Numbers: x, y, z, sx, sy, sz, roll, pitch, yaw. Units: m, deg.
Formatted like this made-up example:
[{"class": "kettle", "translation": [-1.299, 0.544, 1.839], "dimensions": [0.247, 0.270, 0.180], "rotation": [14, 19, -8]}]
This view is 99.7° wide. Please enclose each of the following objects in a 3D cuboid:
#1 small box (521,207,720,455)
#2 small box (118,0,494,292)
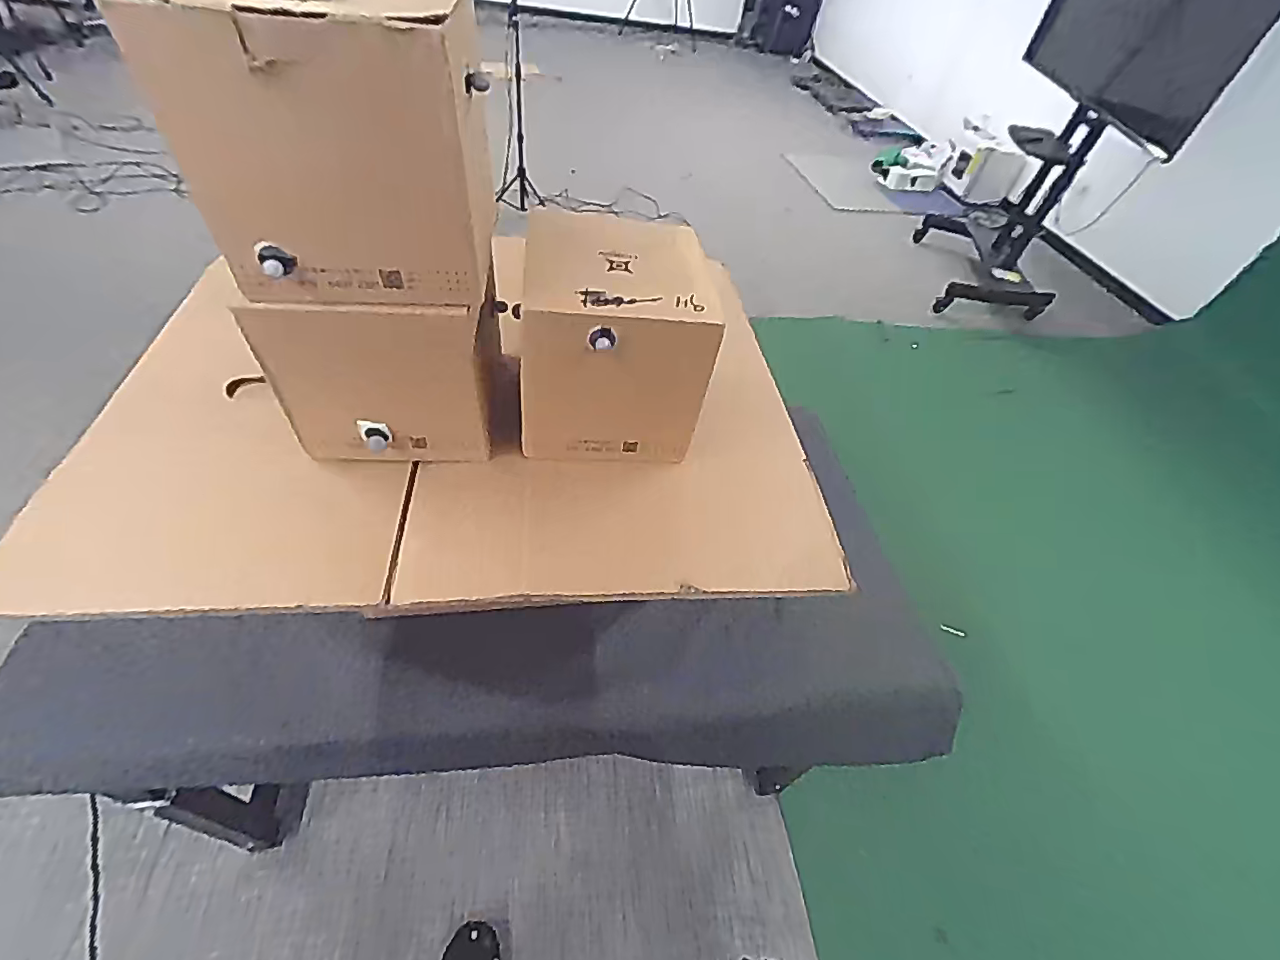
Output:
[{"class": "small box", "translation": [-0.033, -0.147, 0.548], "dimensions": [0.168, 0.176, 0.179], "rotation": [2, 49, -10]}, {"class": "small box", "translation": [-0.203, -0.256, 0.400], "dimensions": [0.168, 0.176, 0.179], "rotation": [-1, 49, -9]}]
